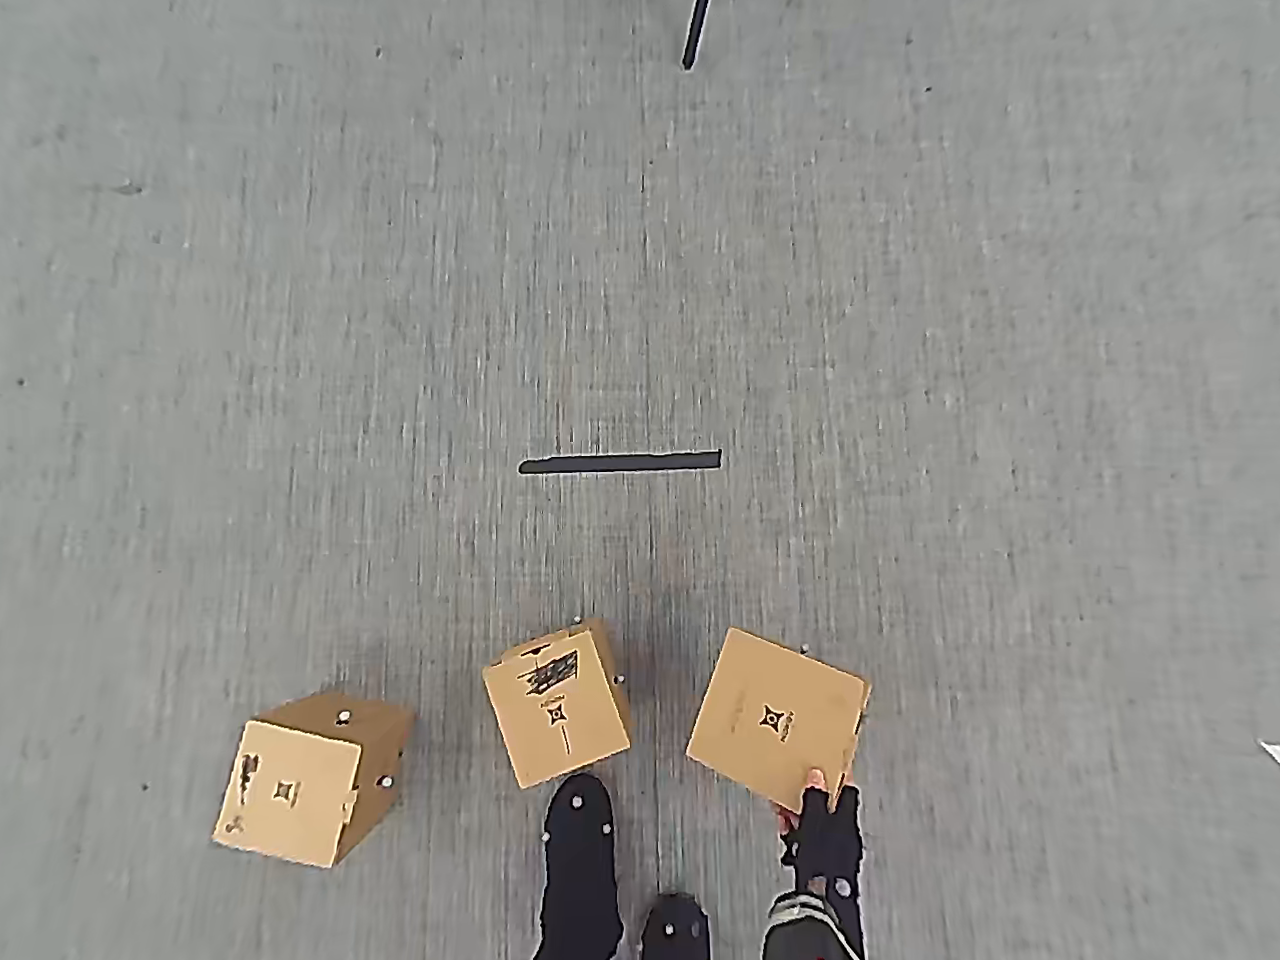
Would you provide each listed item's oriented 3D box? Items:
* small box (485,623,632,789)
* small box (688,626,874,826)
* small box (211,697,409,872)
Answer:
[{"bbox_3d":[-0.118,0.330,0.835,0.168,0.176,0.179,-20,83,-3],"label":"small box"},{"bbox_3d":[0.187,0.300,0.699,0.179,0.176,0.168,16,78,25],"label":"small box"},{"bbox_3d":[-0.481,0.444,0.819,0.179,0.176,0.168,12,81,2],"label":"small box"}]
